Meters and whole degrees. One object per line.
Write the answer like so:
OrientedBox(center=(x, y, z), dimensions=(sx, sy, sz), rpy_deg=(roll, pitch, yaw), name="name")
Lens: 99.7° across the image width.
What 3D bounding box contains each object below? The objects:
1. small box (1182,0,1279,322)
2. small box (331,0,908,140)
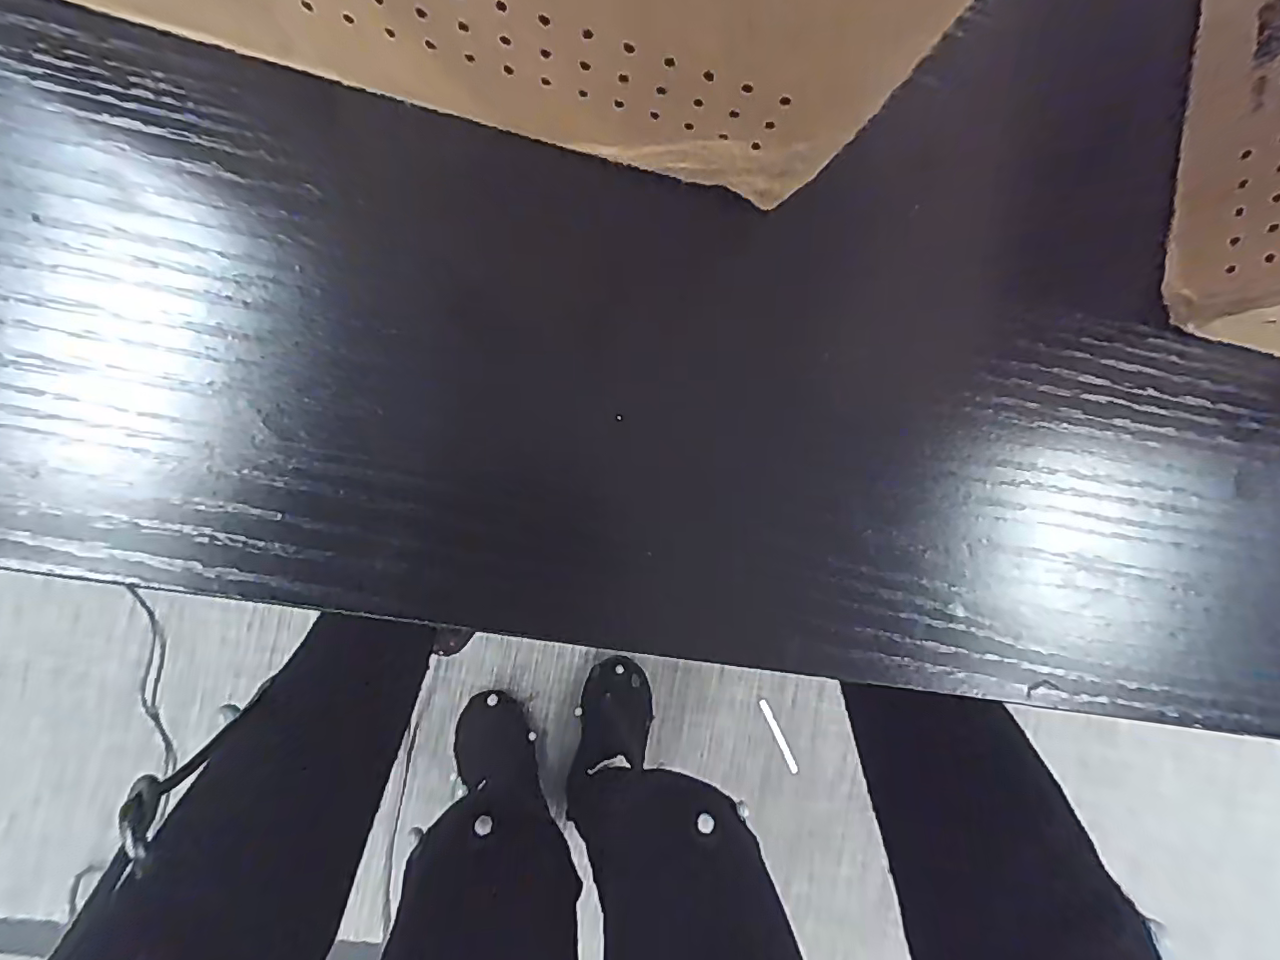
OrientedBox(center=(0.238, -0.106, 0.065), dimensions=(0.179, 0.176, 0.168), rpy_deg=(9, 89, -10), name="small box")
OrientedBox(center=(-0.017, -0.157, 0.024), dimensions=(0.179, 0.176, 0.168), rpy_deg=(11, 90, -10), name="small box")
